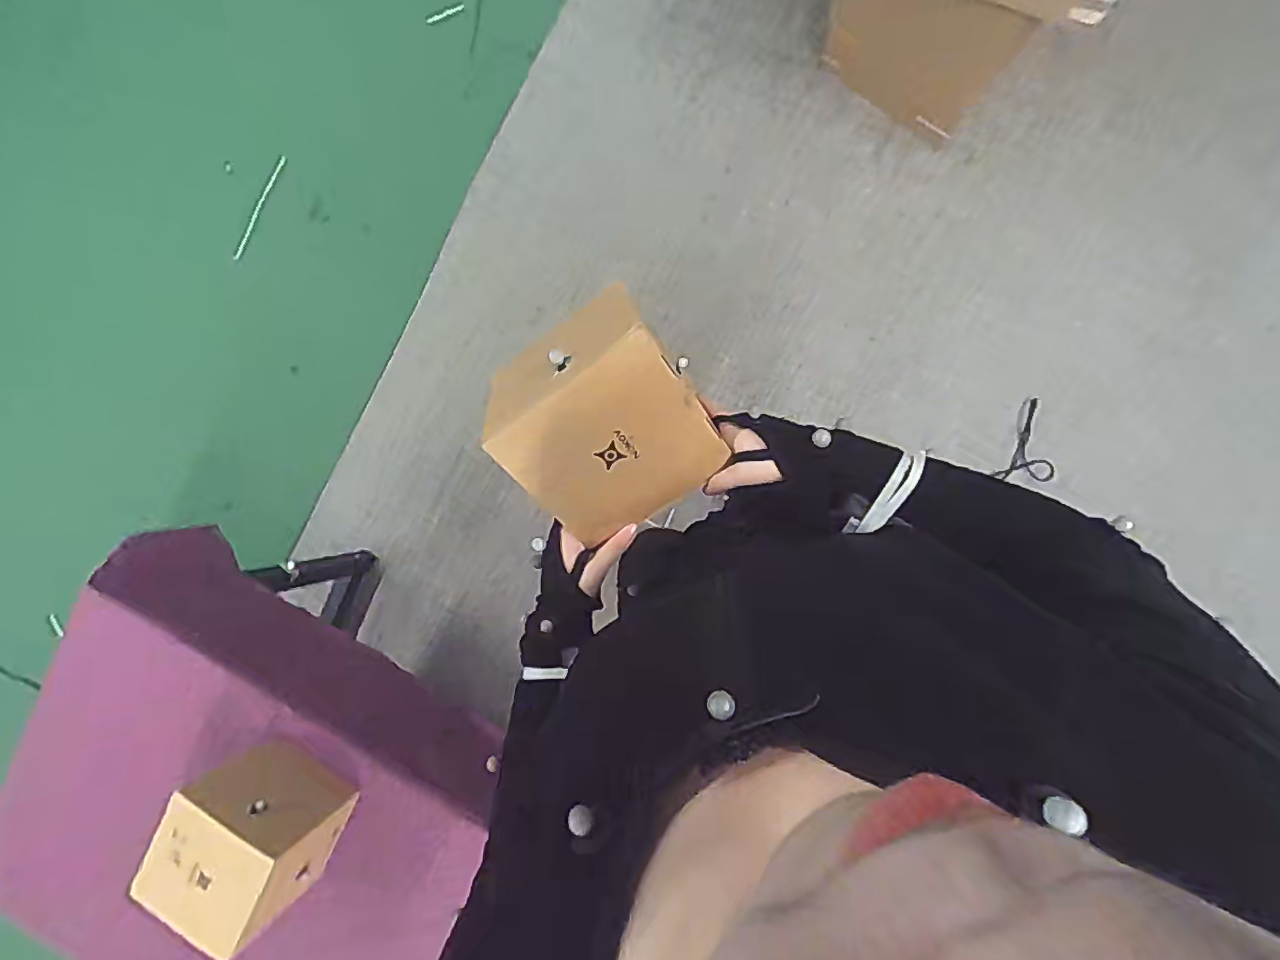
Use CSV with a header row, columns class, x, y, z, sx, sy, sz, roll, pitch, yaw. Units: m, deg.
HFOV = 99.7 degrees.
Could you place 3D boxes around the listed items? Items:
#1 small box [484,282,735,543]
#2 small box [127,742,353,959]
class,x,y,z,sx,sy,sz,roll,pitch,yaw
small box,-0.033,-0.074,0.560,0.179,0.176,0.168,-33,121,11
small box,-0.566,0.522,0.790,0.179,0.176,0.168,27,93,8
